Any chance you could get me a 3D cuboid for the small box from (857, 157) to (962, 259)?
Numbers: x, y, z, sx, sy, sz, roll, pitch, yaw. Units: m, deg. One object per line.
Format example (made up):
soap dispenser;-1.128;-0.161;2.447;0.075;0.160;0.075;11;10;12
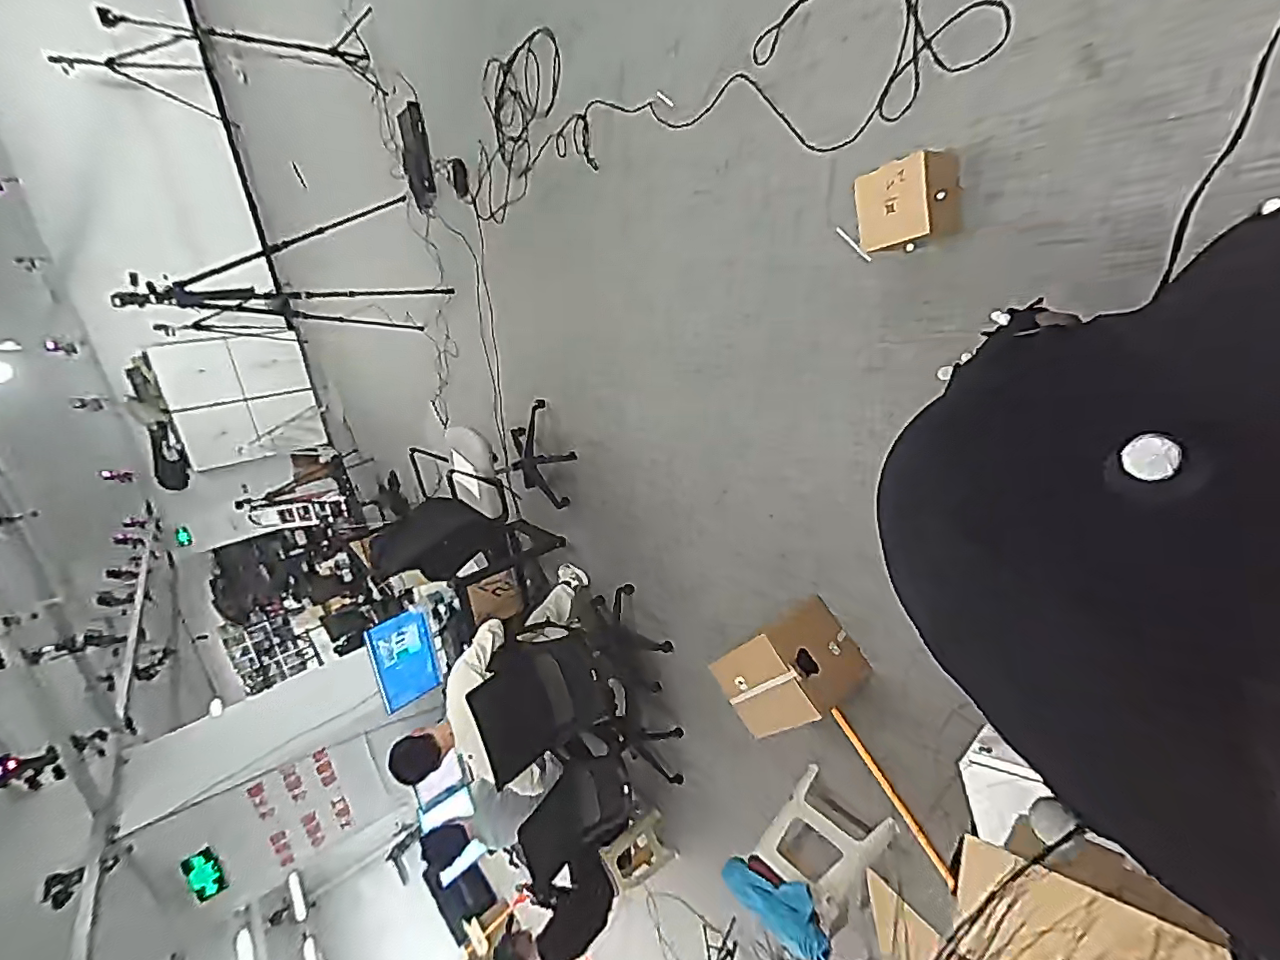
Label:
small box;0.647;-0.644;1.291;0.168;0.176;0.179;4;110;52
